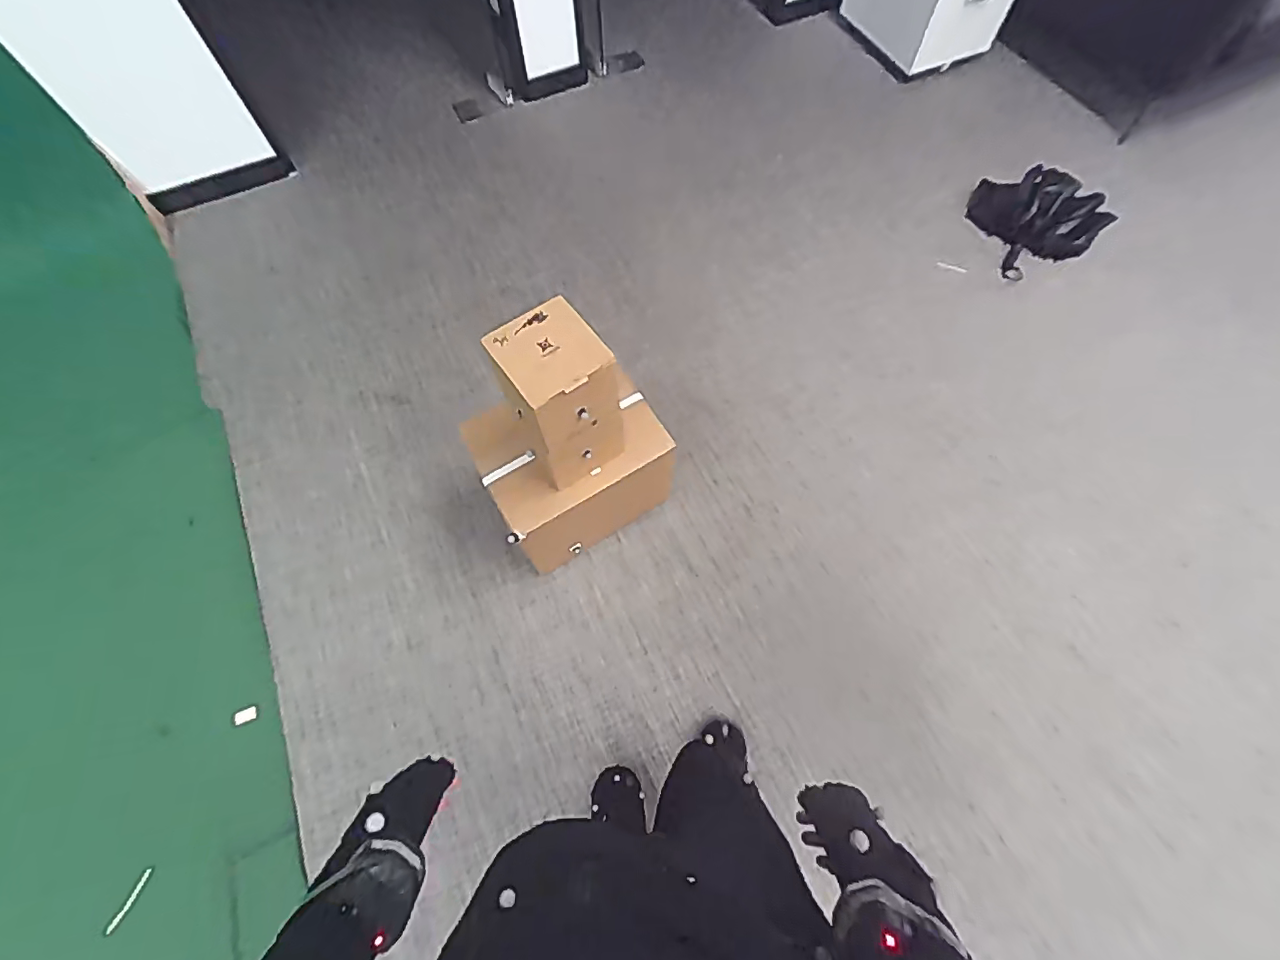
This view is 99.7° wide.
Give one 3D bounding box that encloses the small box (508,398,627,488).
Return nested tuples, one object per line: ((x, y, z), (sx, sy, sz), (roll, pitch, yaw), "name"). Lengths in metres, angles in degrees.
((-0.144, -0.115, 1.119), (0.179, 0.176, 0.168), (-36, 70, -15), "small box")

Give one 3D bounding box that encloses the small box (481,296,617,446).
((-0.153, -0.184, 0.971), (0.168, 0.176, 0.179), (-34, 70, -13), "small box")
